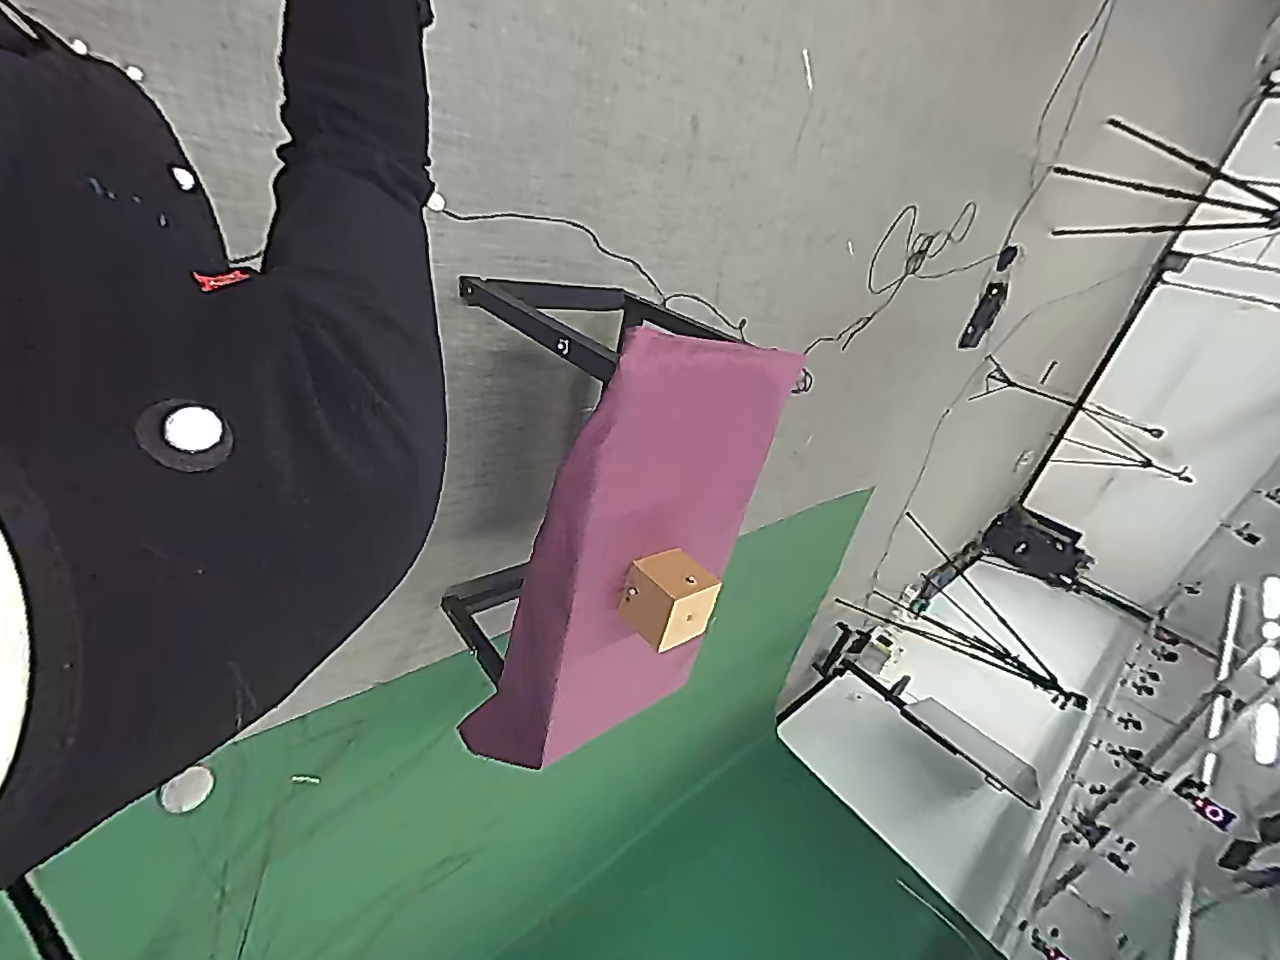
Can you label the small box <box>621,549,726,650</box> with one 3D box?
[{"bbox_3d":[0.081,0.294,1.377,0.179,0.176,0.168,-8,123,-42],"label":"small box"}]
